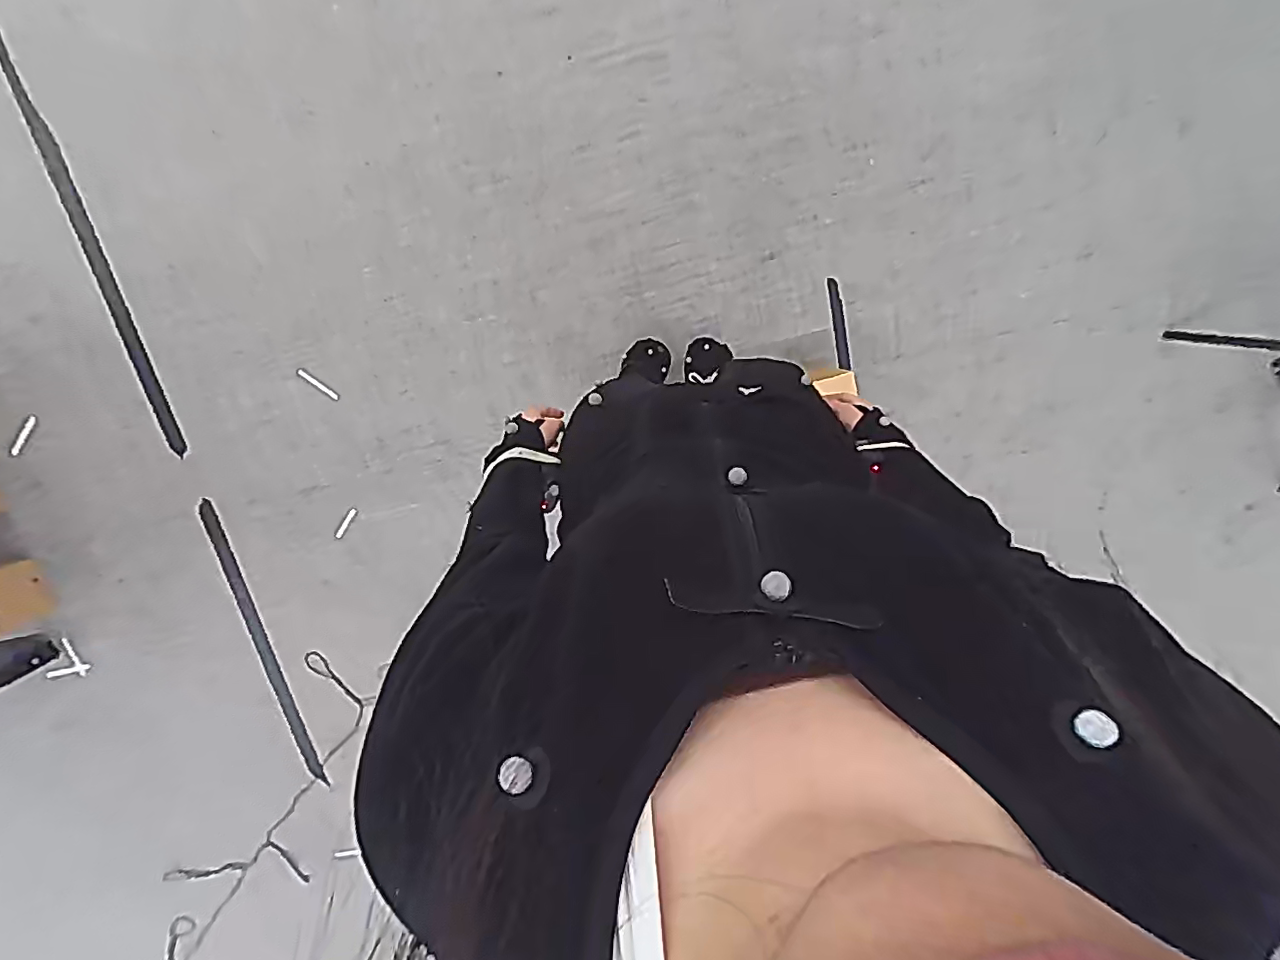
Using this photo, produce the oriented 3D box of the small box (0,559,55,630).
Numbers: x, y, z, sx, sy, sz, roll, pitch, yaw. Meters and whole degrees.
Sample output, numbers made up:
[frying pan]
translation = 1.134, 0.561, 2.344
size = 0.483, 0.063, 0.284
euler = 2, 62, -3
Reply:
[small box]
translation = -1.864, 0.341, 1.545
size = 0.179, 0.176, 0.168
euler = -11, 105, 5
